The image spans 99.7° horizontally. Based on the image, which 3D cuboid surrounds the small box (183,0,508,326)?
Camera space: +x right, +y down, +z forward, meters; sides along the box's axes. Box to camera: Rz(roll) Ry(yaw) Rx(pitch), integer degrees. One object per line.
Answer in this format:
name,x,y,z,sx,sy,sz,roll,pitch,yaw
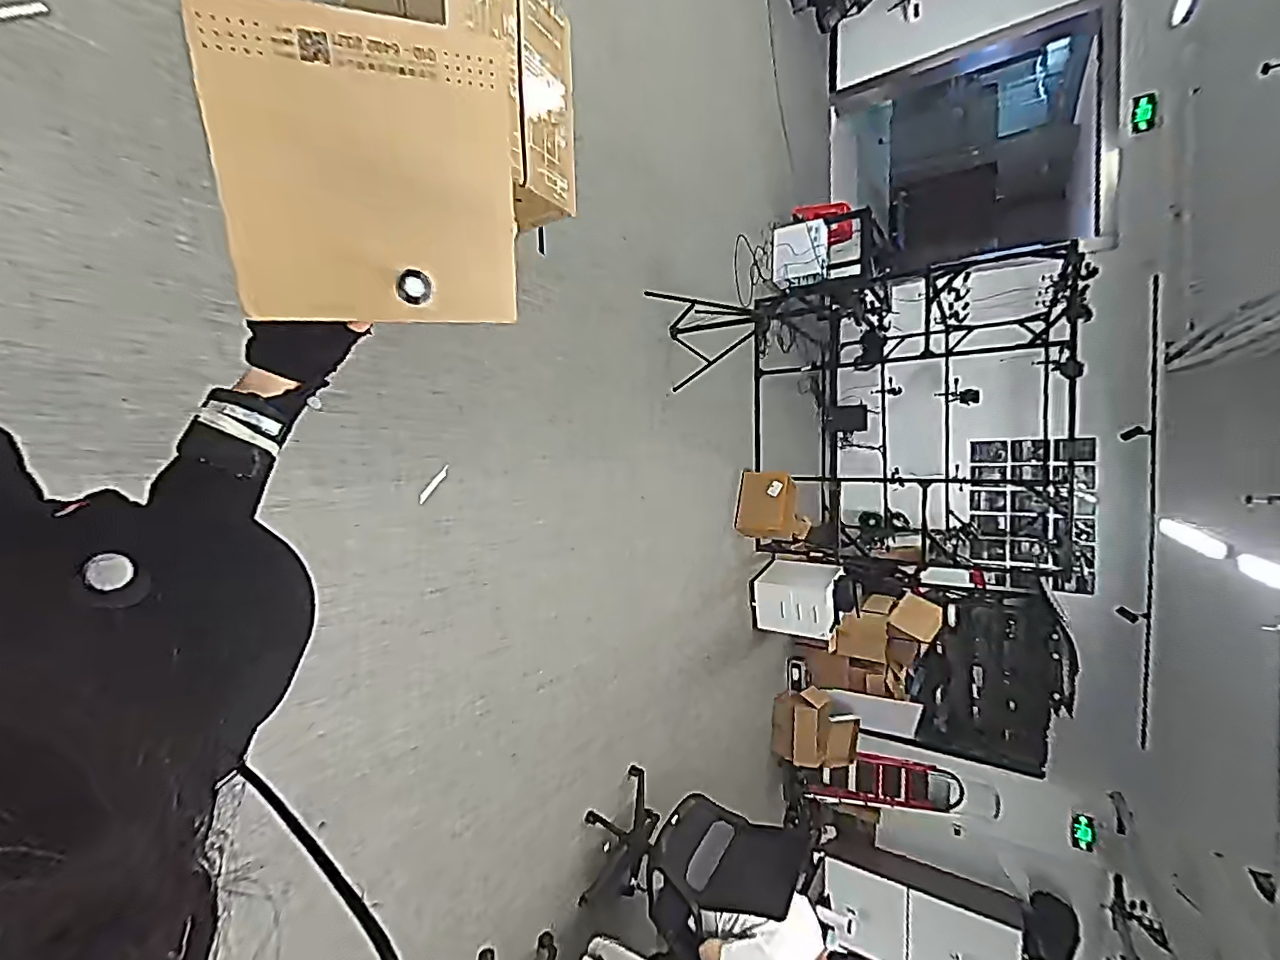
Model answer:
small box,-0.186,-0.212,0.394,0.168,0.179,0.176,-3,111,-17
